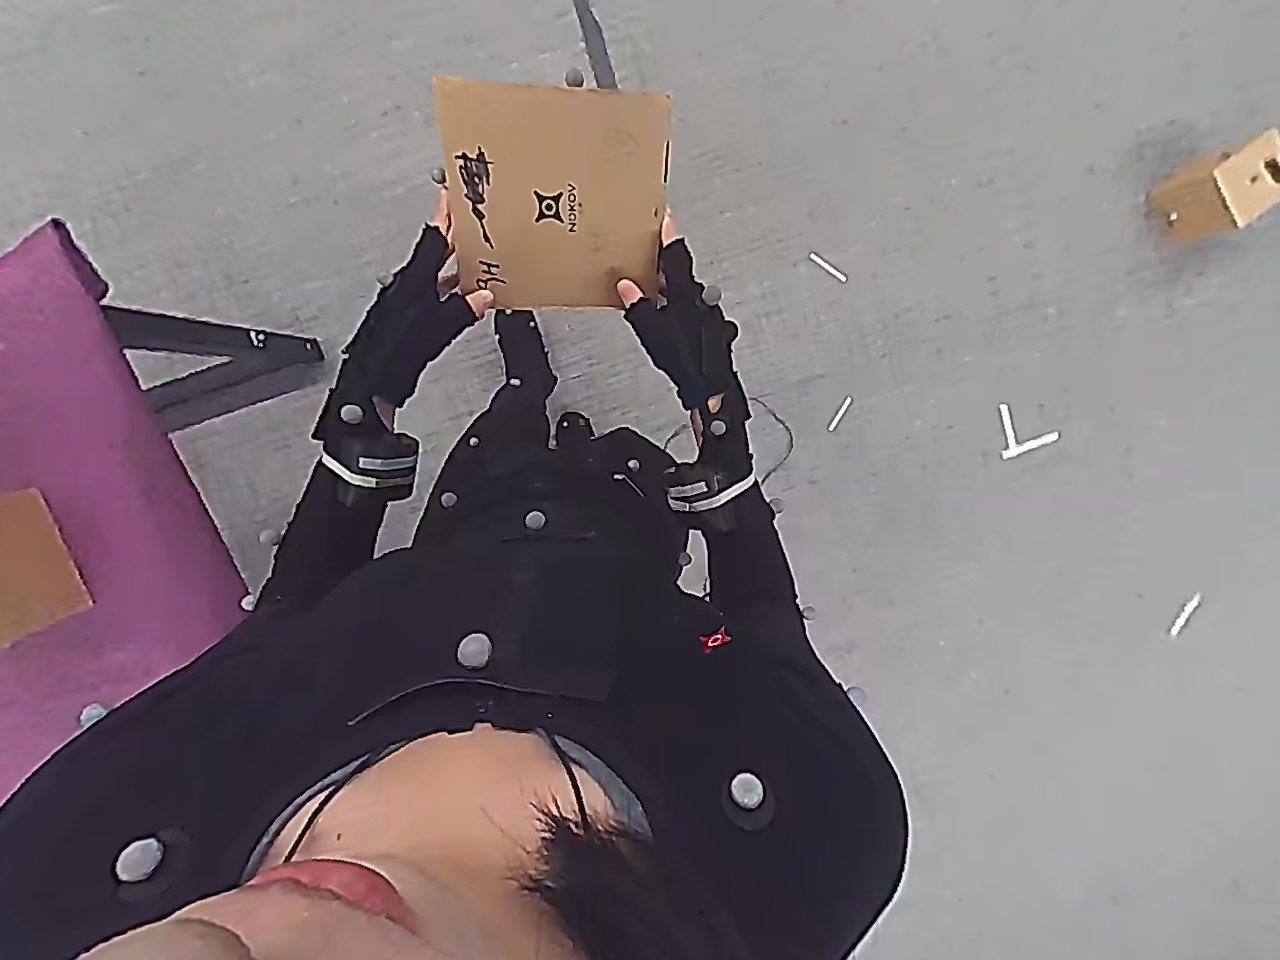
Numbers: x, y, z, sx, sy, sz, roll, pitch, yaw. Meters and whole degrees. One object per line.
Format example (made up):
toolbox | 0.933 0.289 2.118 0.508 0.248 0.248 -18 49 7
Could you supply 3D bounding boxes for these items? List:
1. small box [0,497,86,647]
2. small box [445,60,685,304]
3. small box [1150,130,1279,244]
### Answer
small box | -0.848 0.127 0.647 0.168 0.176 0.179 -15 101 1
small box | -0.069 -0.270 0.496 0.179 0.176 0.168 -1 124 -9
small box | 1.511 -0.754 1.410 0.179 0.176 0.168 -37 99 3
